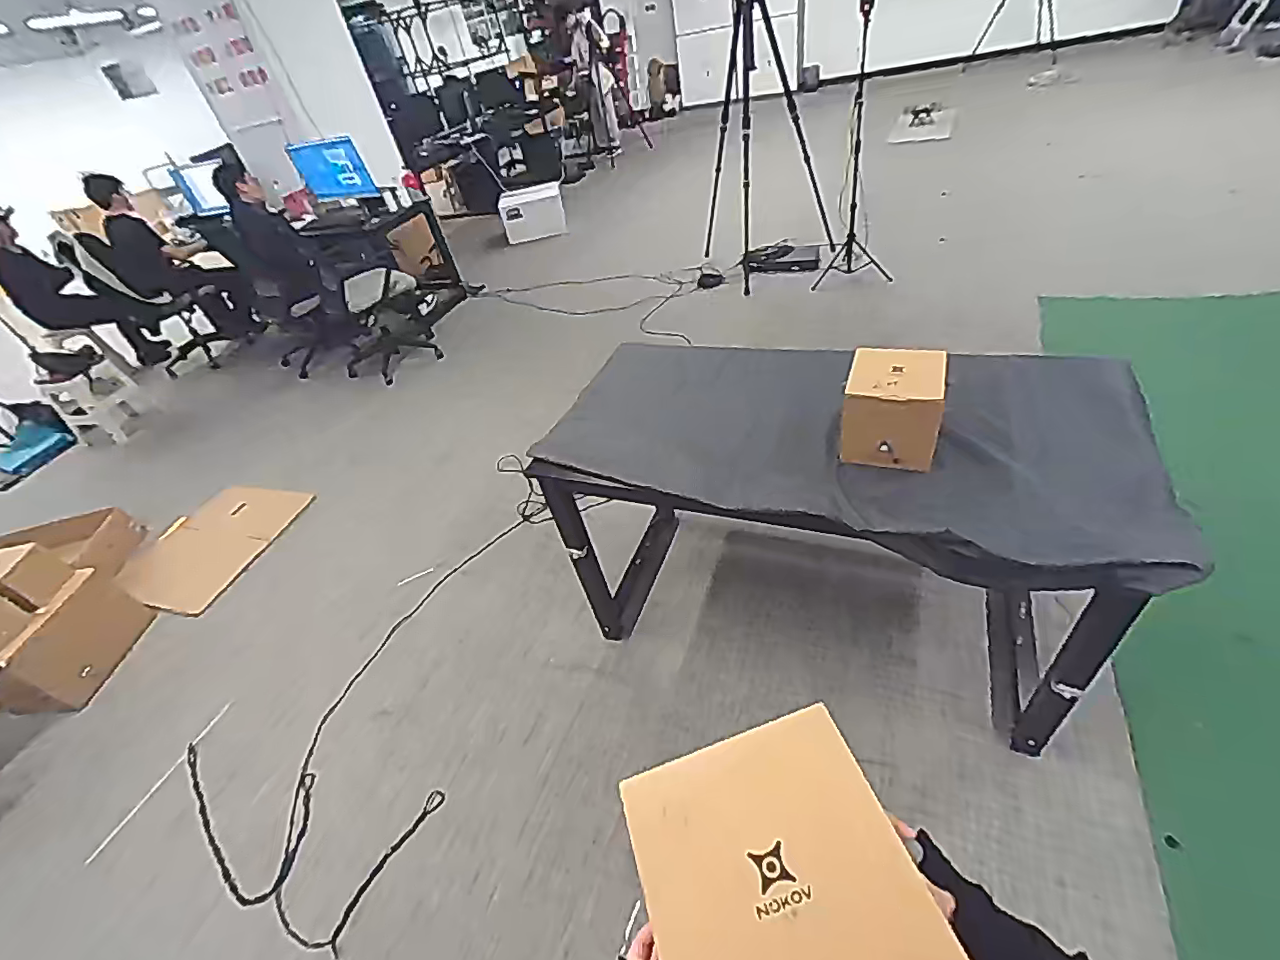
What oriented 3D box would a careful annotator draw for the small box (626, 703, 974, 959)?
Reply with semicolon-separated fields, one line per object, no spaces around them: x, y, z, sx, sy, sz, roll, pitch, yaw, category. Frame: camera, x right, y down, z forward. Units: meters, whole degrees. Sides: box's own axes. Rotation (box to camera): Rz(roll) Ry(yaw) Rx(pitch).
0.101;0.302;0.391;0.168;0.176;0.179;-19;43;-5;small box

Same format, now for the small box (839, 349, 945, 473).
0.498;-0.141;1.080;0.168;0.176;0.179;9;46;24;small box
